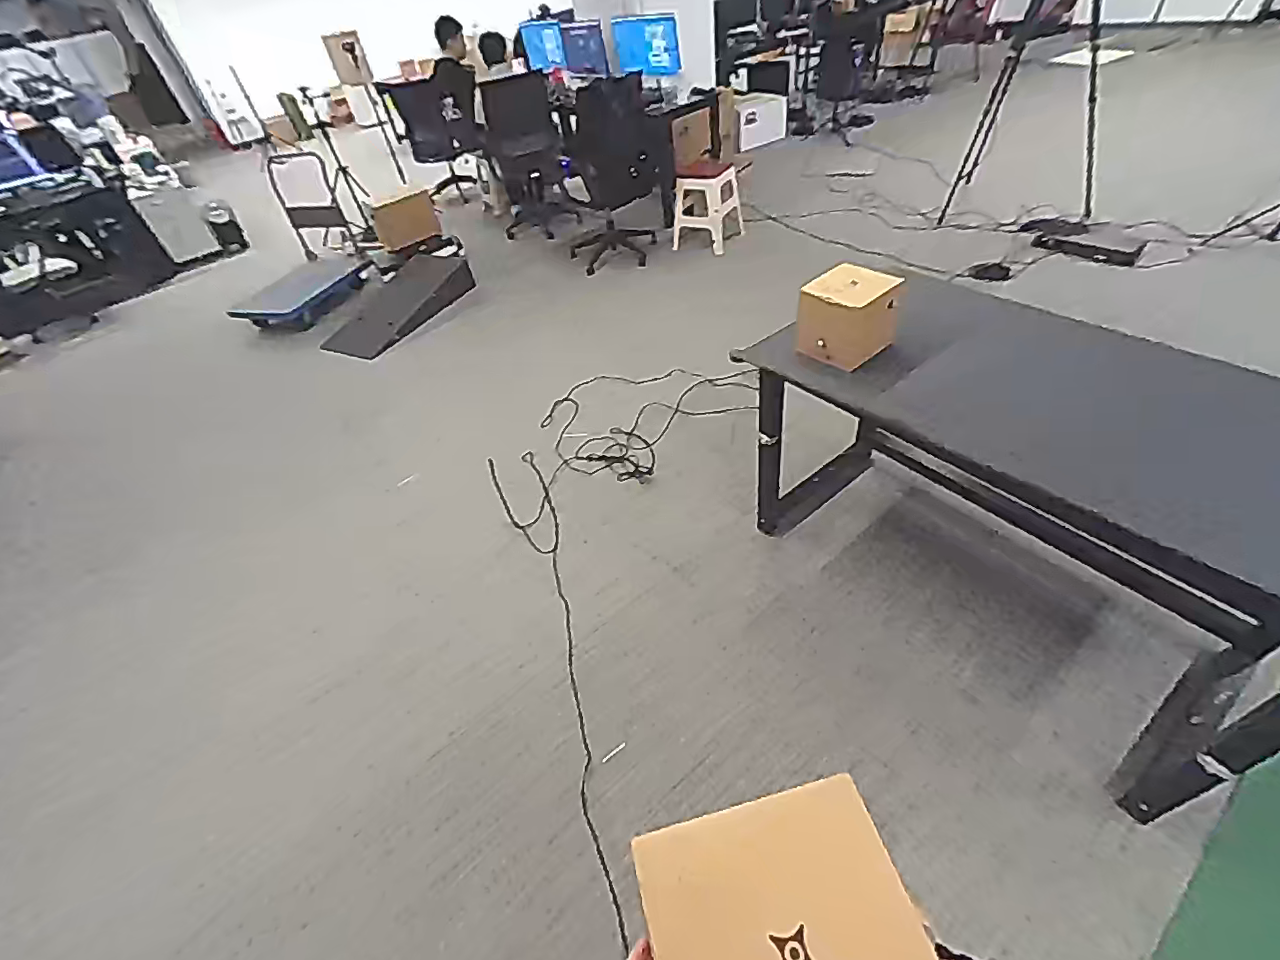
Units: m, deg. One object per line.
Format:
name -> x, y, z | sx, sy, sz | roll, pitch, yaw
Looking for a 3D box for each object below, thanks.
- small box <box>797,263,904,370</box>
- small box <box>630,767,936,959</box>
small box -> 0.500, -0.396, 1.312 | 0.179, 0.176, 0.168 | -33, 49, -23
small box -> 0.089, 0.336, 0.377 | 0.168, 0.176, 0.179 | -11, 47, -9
